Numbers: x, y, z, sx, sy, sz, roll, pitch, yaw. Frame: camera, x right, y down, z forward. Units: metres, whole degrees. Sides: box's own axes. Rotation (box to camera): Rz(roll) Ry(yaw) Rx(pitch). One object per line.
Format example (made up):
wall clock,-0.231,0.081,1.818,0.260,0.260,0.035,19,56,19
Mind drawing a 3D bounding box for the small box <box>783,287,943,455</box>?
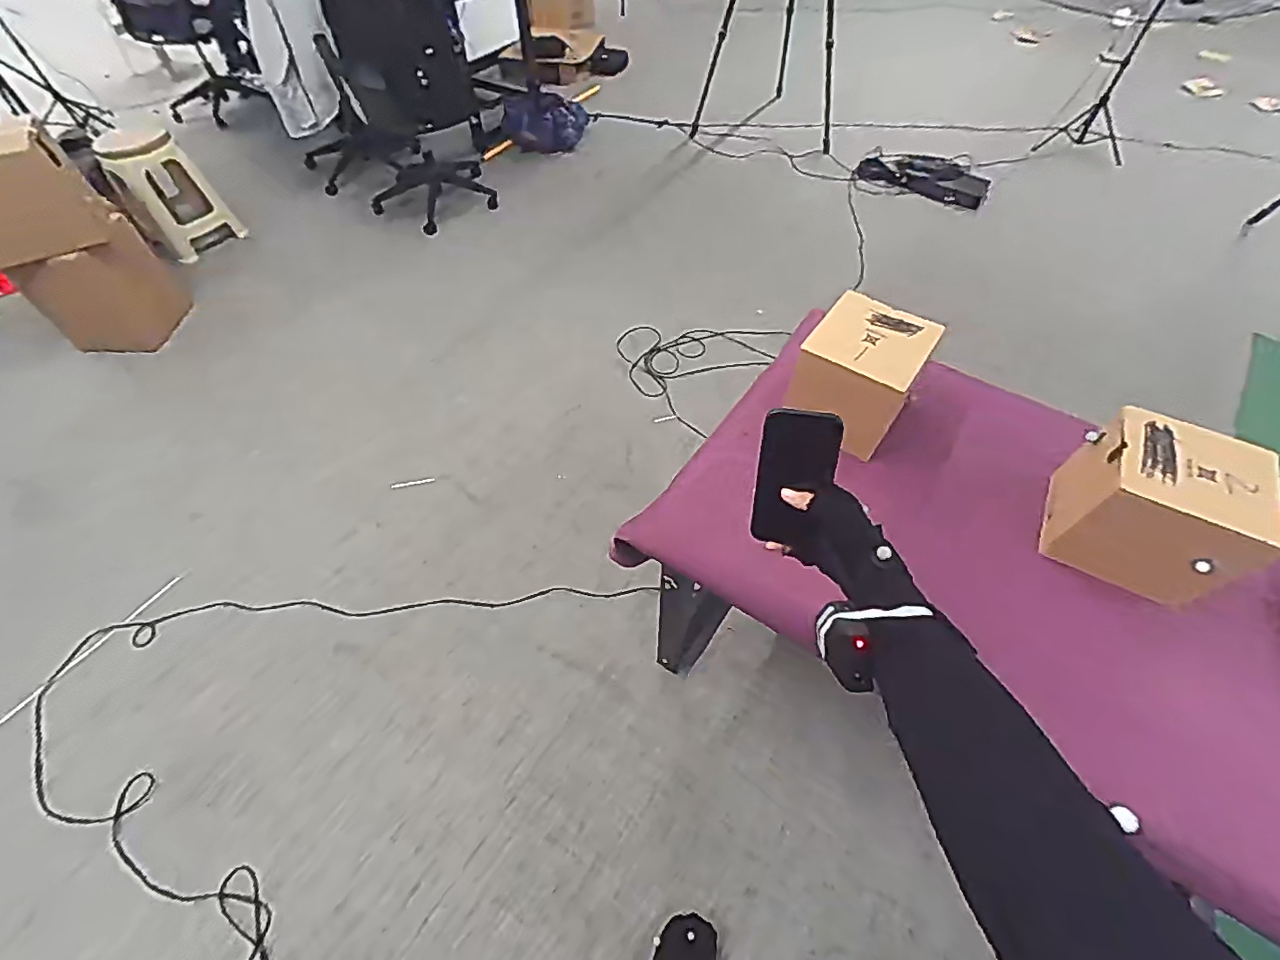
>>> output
small box,0.355,-0.177,0.889,0.168,0.176,0.179,31,62,21
